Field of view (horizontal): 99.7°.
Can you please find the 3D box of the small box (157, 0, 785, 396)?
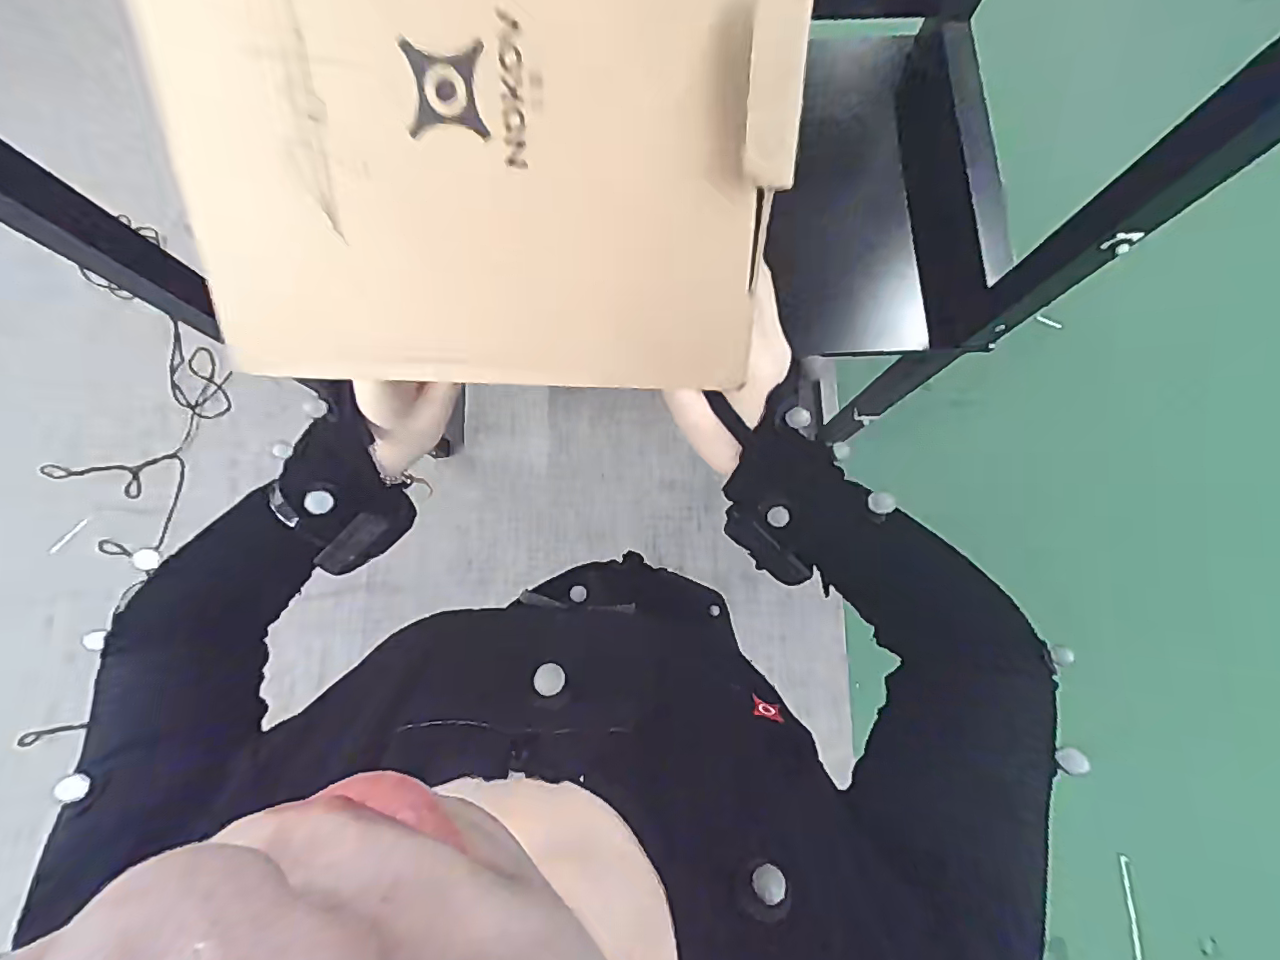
[{"bbox_3d":[-0.045,-0.139,0.231,0.179,0.176,0.168,2,114,3],"label":"small box"}]
